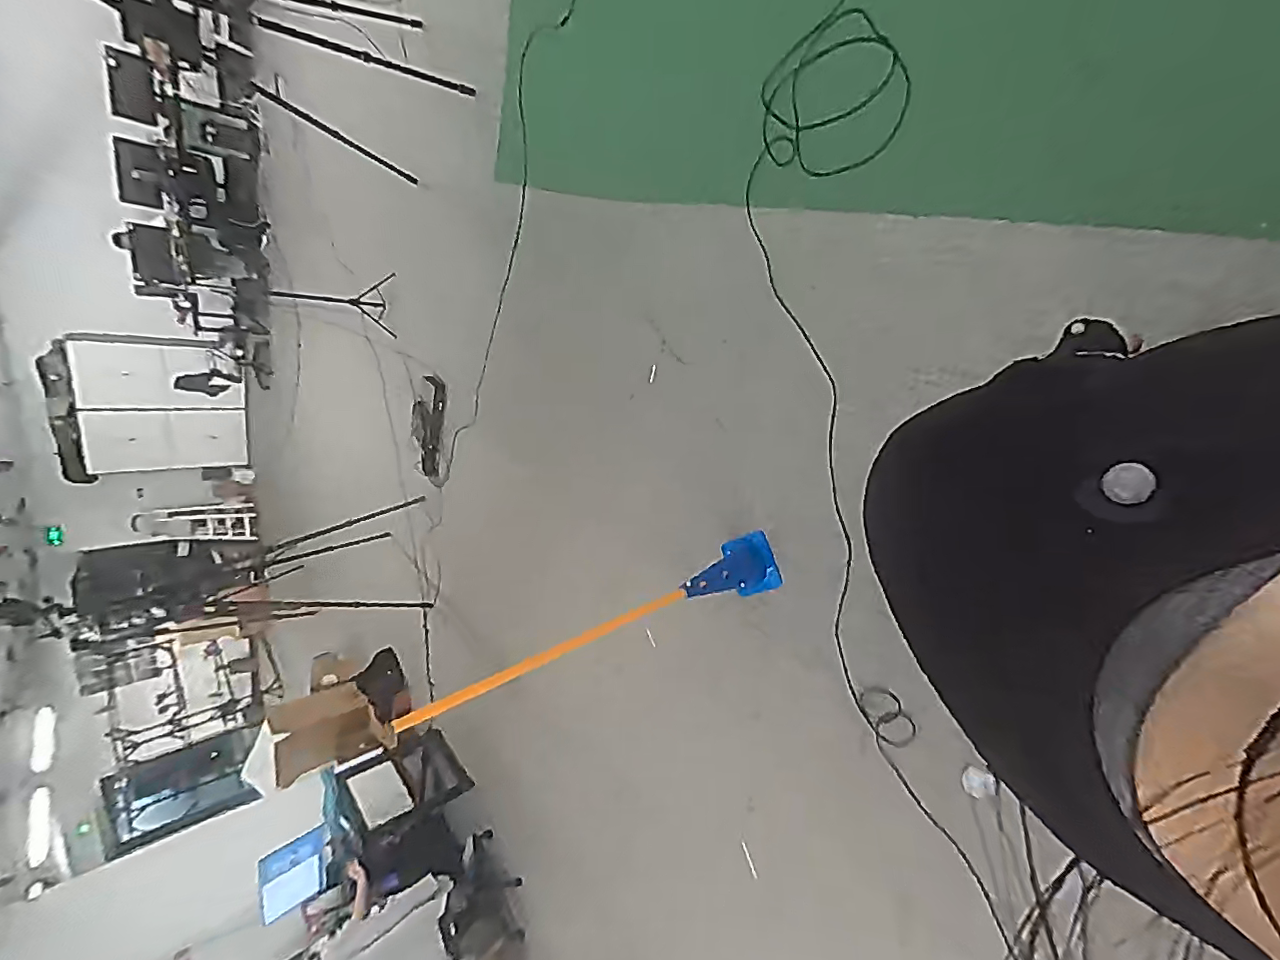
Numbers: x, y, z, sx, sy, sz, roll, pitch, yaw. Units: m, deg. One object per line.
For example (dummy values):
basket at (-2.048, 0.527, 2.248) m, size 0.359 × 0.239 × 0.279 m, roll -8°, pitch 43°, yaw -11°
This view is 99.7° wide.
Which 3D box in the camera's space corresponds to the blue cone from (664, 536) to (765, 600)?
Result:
blue cone at (0.217, 0.326, 1.743) m, size 0.193 × 0.380 × 0.192 m, roll -31°, pitch 75°, yaw 45°
